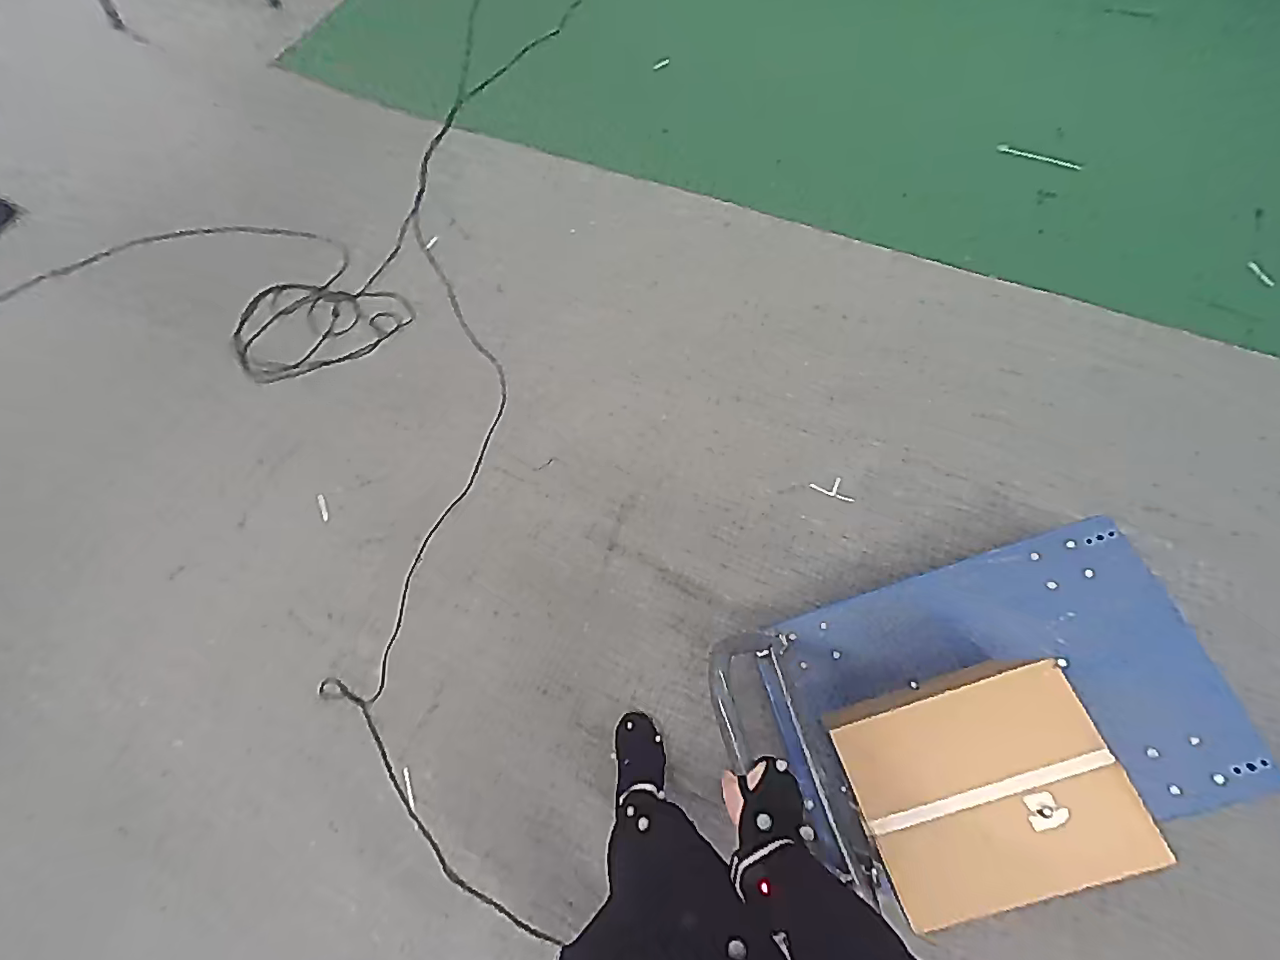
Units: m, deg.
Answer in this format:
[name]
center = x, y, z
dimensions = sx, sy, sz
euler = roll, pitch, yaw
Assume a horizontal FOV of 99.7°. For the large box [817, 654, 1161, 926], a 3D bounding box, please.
[large box]
center = 0.597, 0.554, 1.030
dimensions = 0.408, 0.320, 0.320
euler = -21, 68, 6
